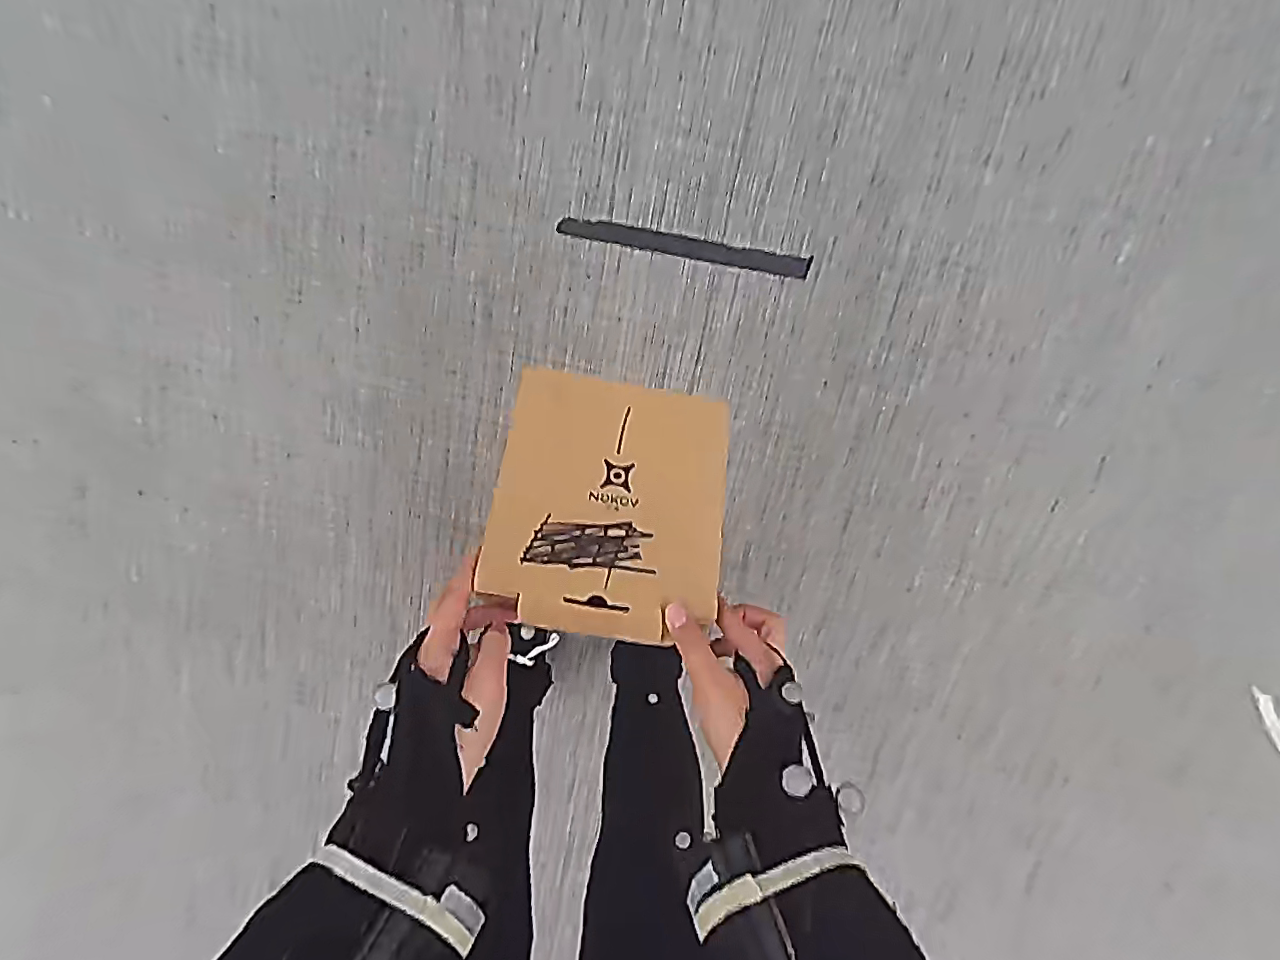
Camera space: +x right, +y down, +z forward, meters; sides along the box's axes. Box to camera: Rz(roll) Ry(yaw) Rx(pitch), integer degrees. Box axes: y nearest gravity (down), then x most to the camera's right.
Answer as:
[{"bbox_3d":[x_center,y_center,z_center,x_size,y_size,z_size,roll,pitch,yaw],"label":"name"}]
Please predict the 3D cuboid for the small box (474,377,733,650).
[{"bbox_3d":[-0.028,0.042,0.460,0.168,0.176,0.179,10,67,-5],"label":"small box"}]
